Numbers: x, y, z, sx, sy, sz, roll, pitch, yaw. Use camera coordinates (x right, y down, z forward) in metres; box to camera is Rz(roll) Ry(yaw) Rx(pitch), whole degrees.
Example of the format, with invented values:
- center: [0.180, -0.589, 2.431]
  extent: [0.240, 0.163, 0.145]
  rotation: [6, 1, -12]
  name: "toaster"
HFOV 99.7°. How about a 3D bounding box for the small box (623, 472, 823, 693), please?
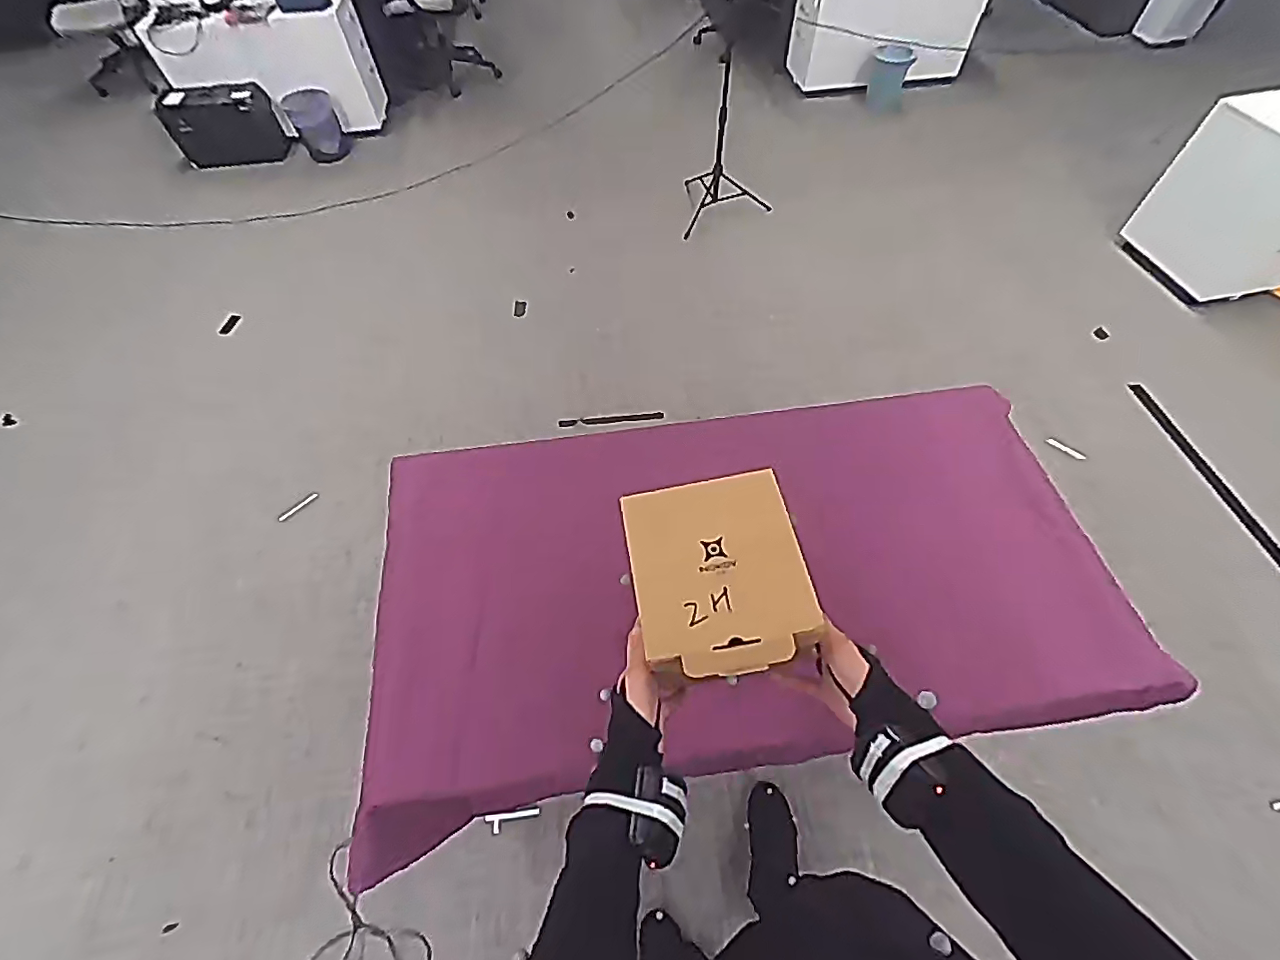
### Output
- center: [0.080, 0.119, 0.596]
  extent: [0.168, 0.176, 0.179]
  rotation: [-11, 59, 1]
  name: "small box"
